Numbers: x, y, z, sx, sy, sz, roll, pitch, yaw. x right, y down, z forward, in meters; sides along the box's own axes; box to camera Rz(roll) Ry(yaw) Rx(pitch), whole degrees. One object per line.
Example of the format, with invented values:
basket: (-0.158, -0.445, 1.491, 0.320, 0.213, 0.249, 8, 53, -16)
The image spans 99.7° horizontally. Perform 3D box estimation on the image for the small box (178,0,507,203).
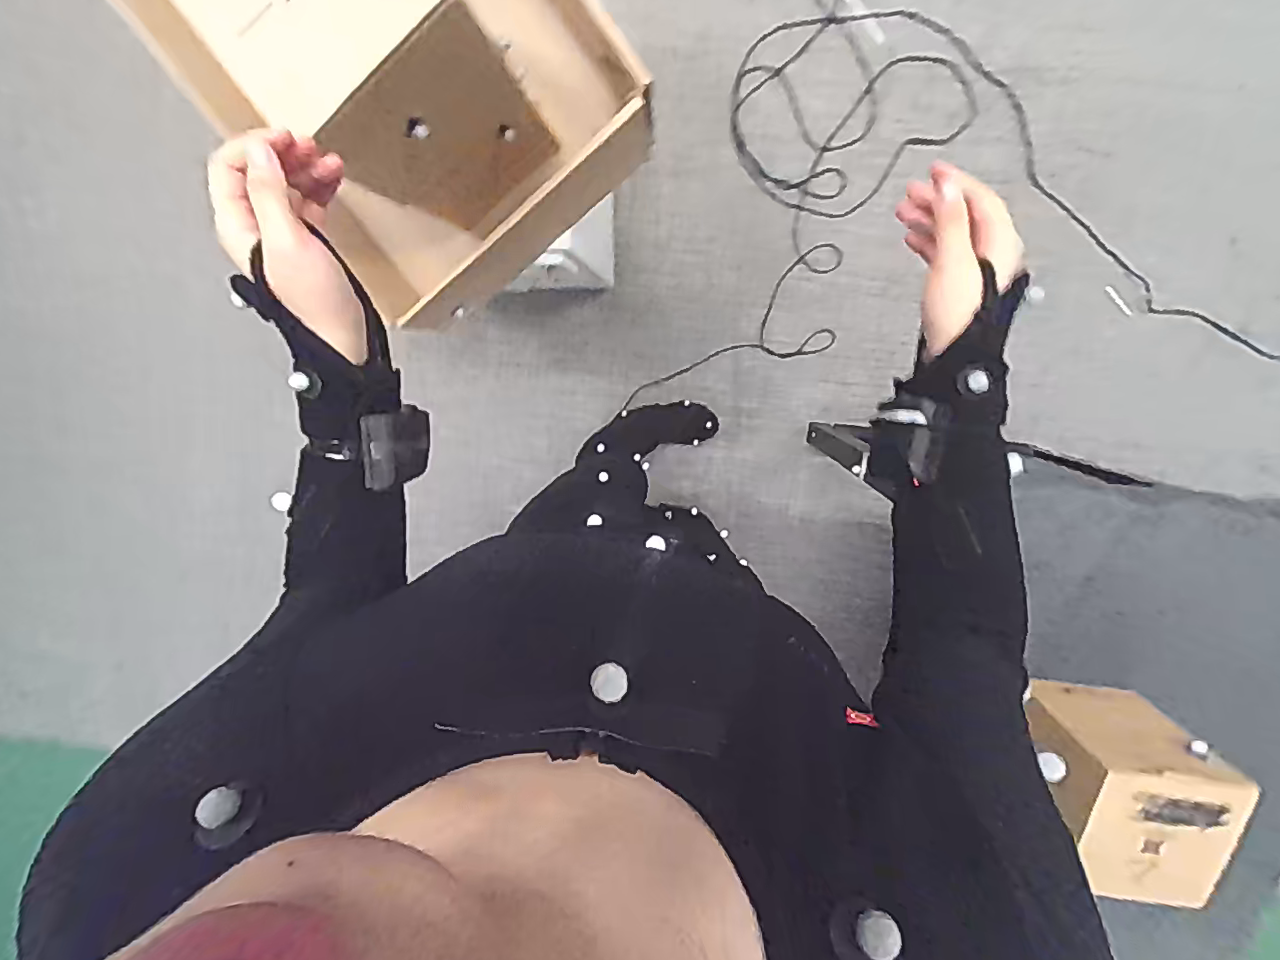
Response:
small box: (-0.239, -0.385, 0.475, 0.179, 0.176, 0.168, -35, 97, 13)
